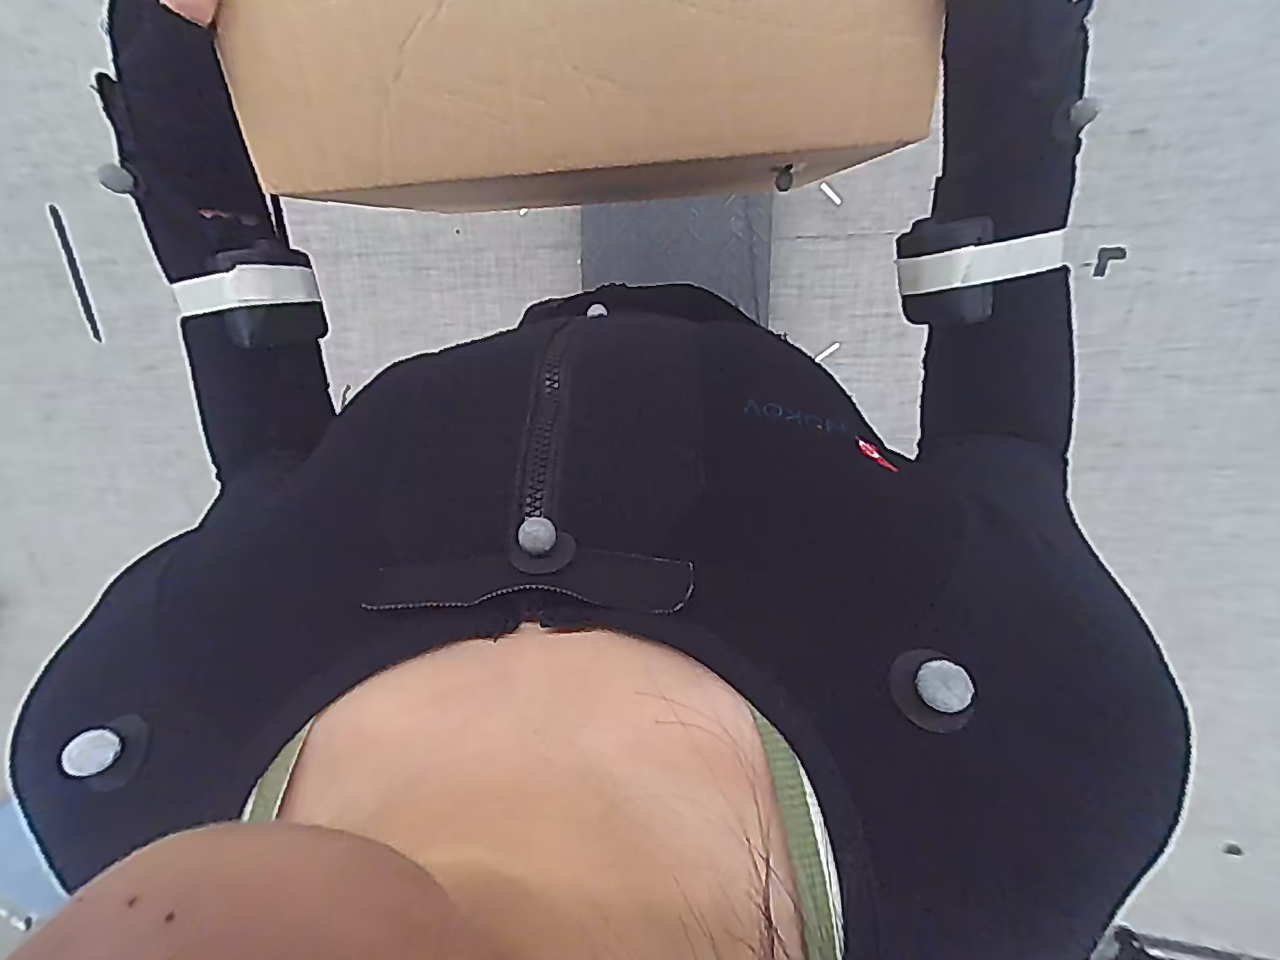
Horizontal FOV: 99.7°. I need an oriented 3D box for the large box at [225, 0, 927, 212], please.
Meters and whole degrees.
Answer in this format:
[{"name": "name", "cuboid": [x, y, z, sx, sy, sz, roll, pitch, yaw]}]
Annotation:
[{"name": "large box", "cuboid": [-0.037, -0.395, 0.413, 0.408, 0.320, 0.320, -3, 113, 4]}]
